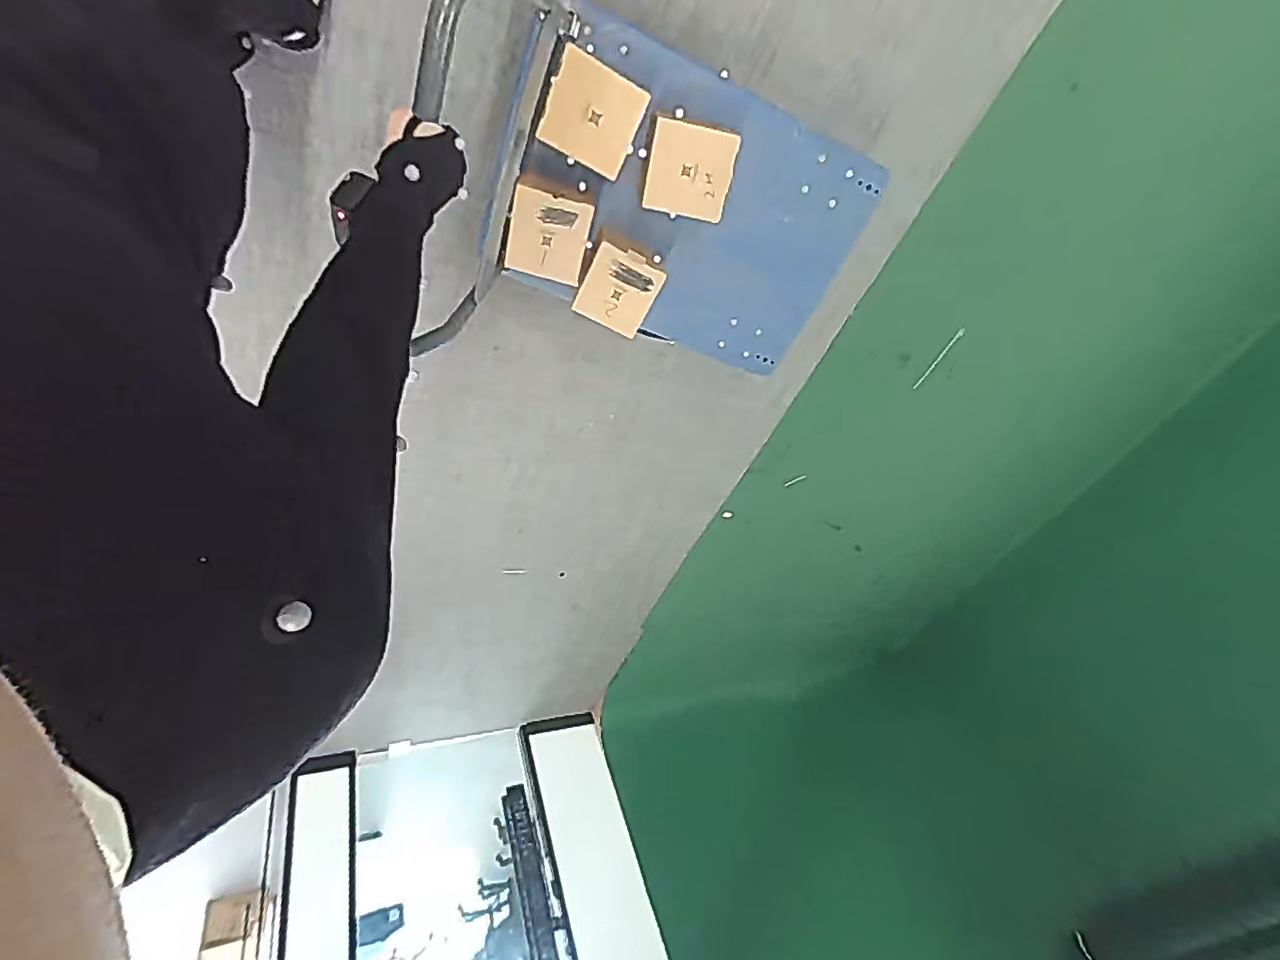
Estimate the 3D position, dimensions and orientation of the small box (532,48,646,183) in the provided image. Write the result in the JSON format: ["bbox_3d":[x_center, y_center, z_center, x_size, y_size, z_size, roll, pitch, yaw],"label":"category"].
[{"bbox_3d":[-0.103,-0.745,1.105,0.179,0.176,0.168,21,123,-18],"label":"small box"}]

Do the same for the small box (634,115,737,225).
[{"bbox_3d":[0.088,-0.676,1.172,0.179,0.176,0.168,7,127,-11],"label":"small box"}]
